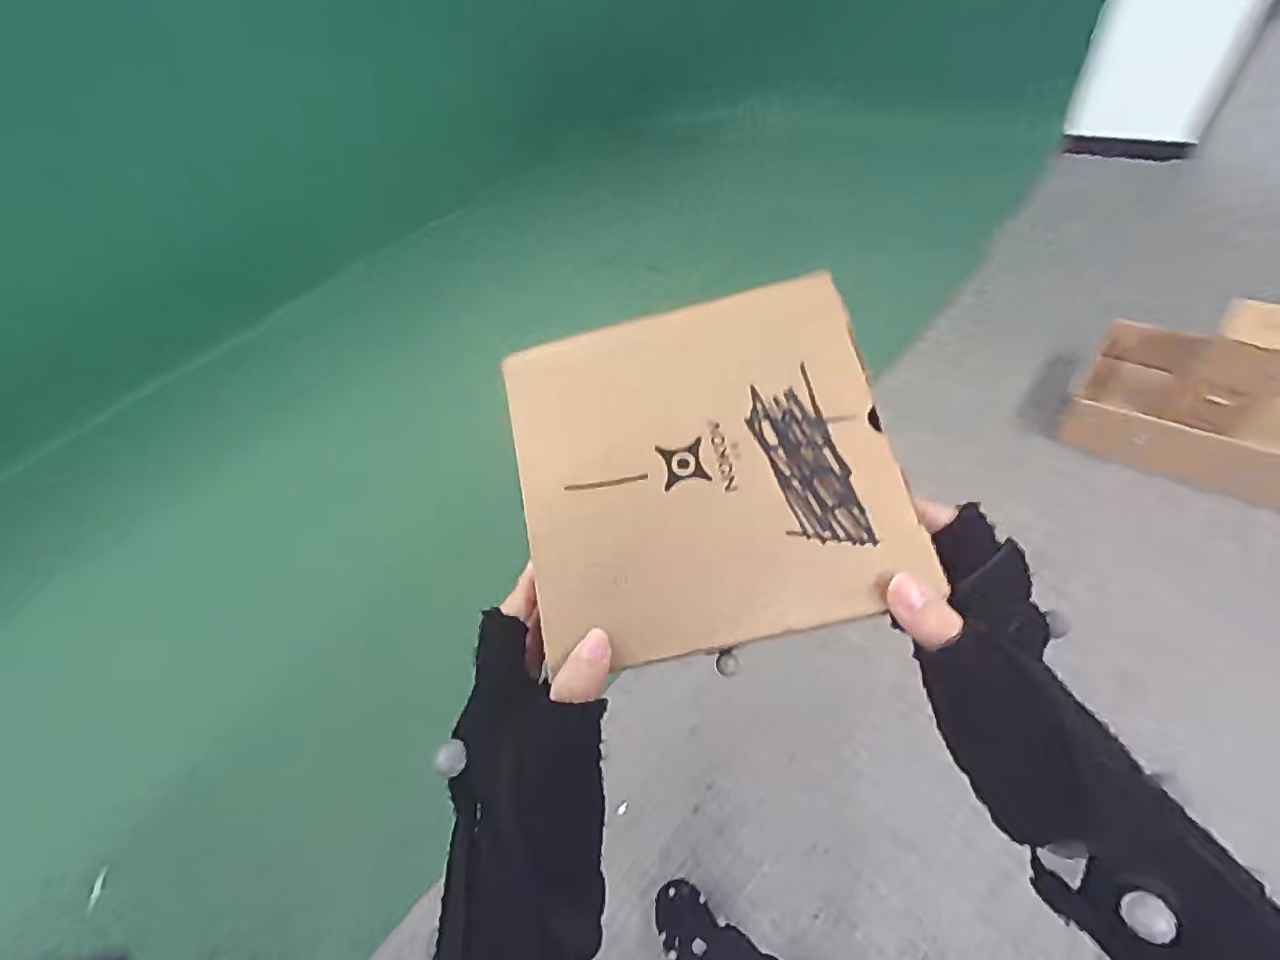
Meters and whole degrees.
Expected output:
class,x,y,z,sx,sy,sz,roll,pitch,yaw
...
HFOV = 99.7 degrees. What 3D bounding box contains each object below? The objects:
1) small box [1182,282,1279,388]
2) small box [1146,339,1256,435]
class,x,y,z,sx,sy,sz,roll,pitch,yaw
small box,1.504,-0.356,1.342,0.168,0.176,0.179,25,64,30
small box,1.542,-0.252,1.482,0.168,0.176,0.179,28,64,31
